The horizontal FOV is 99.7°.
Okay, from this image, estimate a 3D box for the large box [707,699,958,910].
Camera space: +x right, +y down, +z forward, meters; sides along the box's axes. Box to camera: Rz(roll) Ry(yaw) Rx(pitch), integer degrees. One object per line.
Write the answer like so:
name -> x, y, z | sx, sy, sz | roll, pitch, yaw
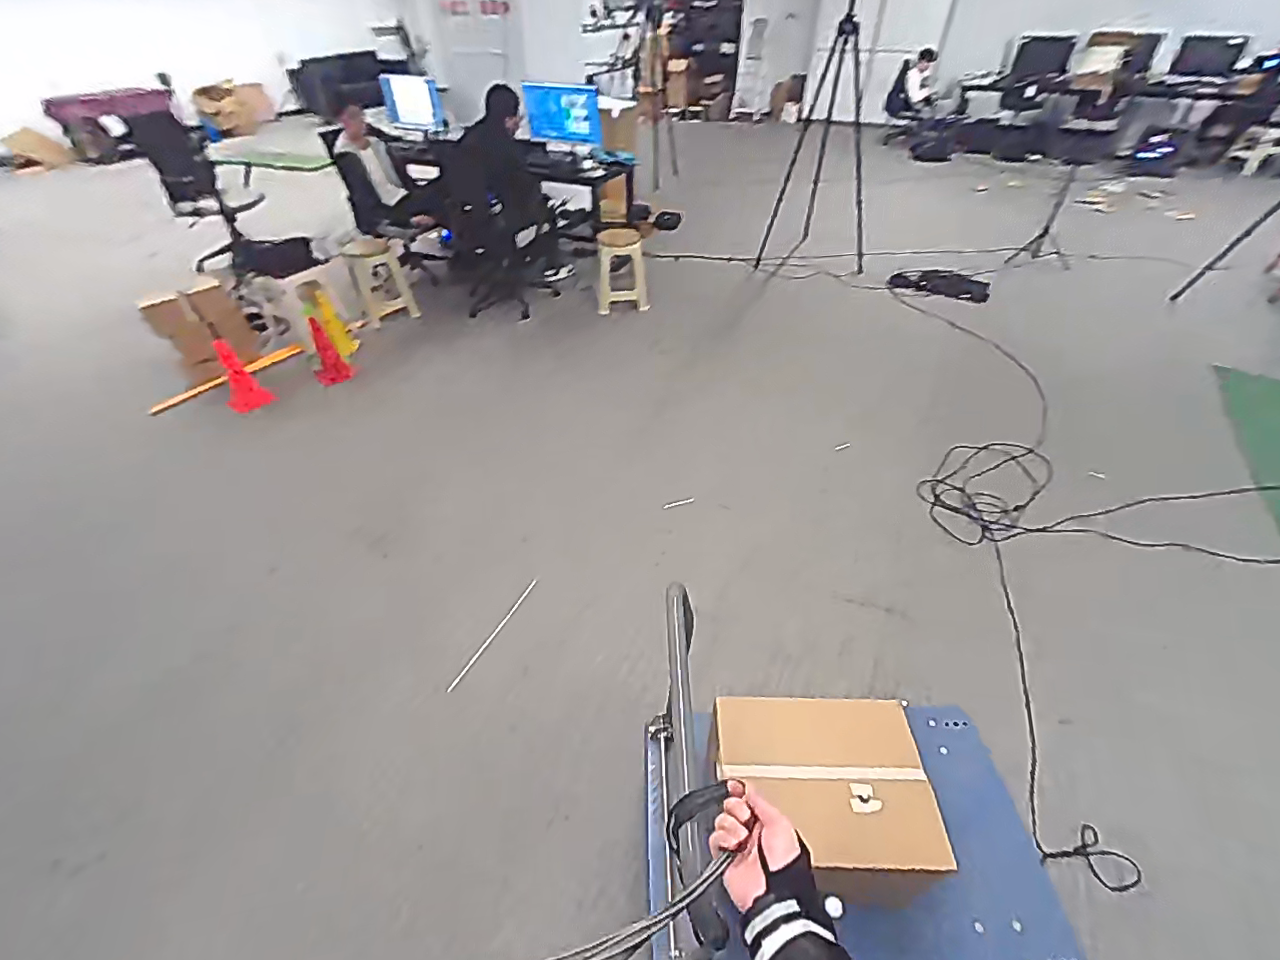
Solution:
large box -> 0.365, 0.693, 1.158 | 0.408, 0.320, 0.320 | 1, 42, 1
